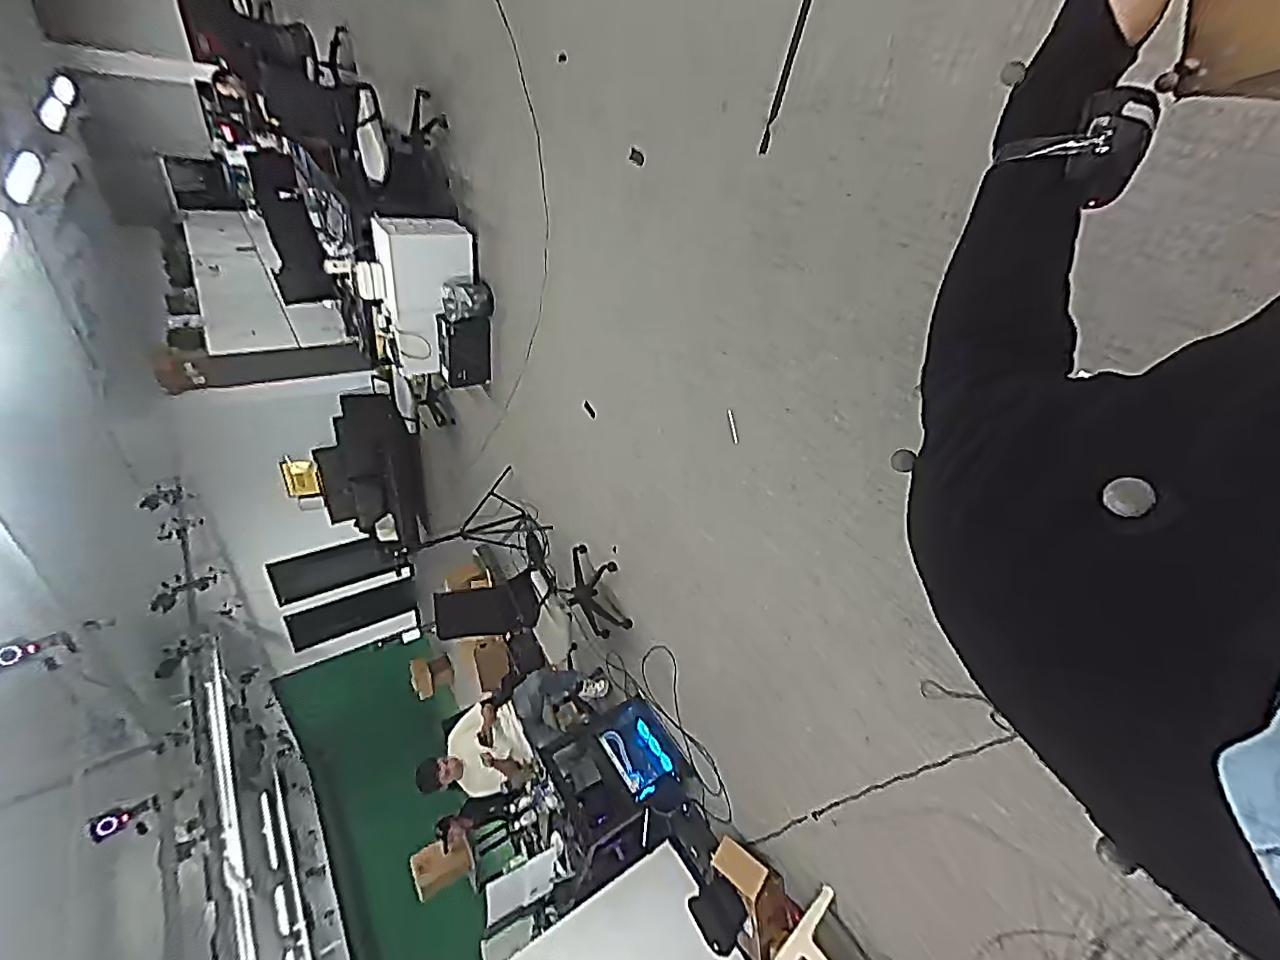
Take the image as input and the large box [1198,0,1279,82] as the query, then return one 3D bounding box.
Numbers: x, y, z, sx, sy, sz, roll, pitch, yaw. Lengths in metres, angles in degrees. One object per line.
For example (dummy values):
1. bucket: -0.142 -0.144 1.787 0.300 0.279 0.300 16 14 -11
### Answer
1. large box: 0.593 -0.437 0.239 0.408 0.320 0.320 18 123 55
